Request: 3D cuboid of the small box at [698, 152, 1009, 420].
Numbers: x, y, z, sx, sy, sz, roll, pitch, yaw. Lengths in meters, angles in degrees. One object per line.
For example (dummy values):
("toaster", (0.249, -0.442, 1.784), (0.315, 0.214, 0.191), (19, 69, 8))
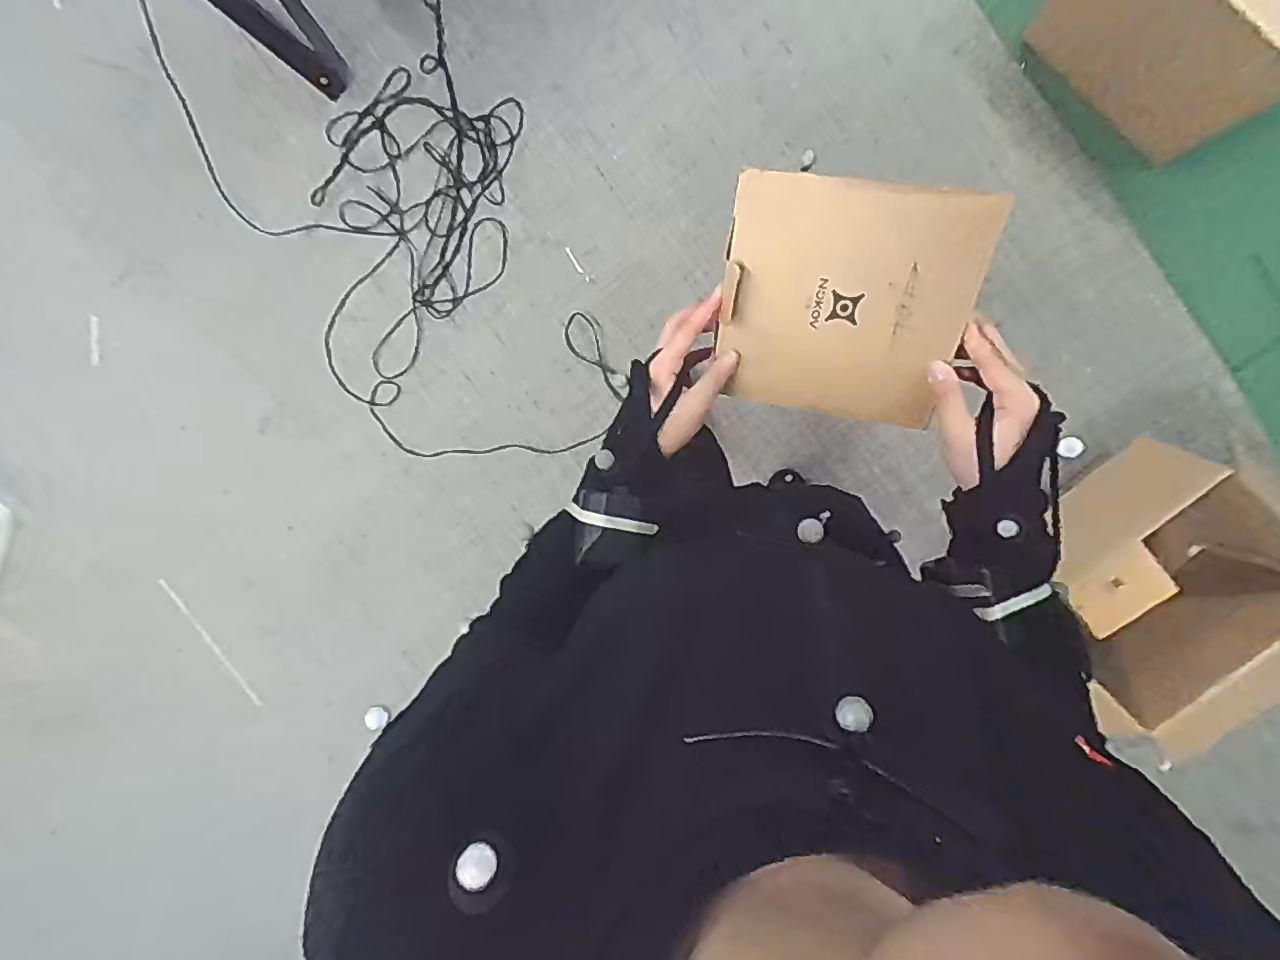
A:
("small box", (0.156, -0.169, 0.452), (0.179, 0.176, 0.168), (10, 122, 10))
